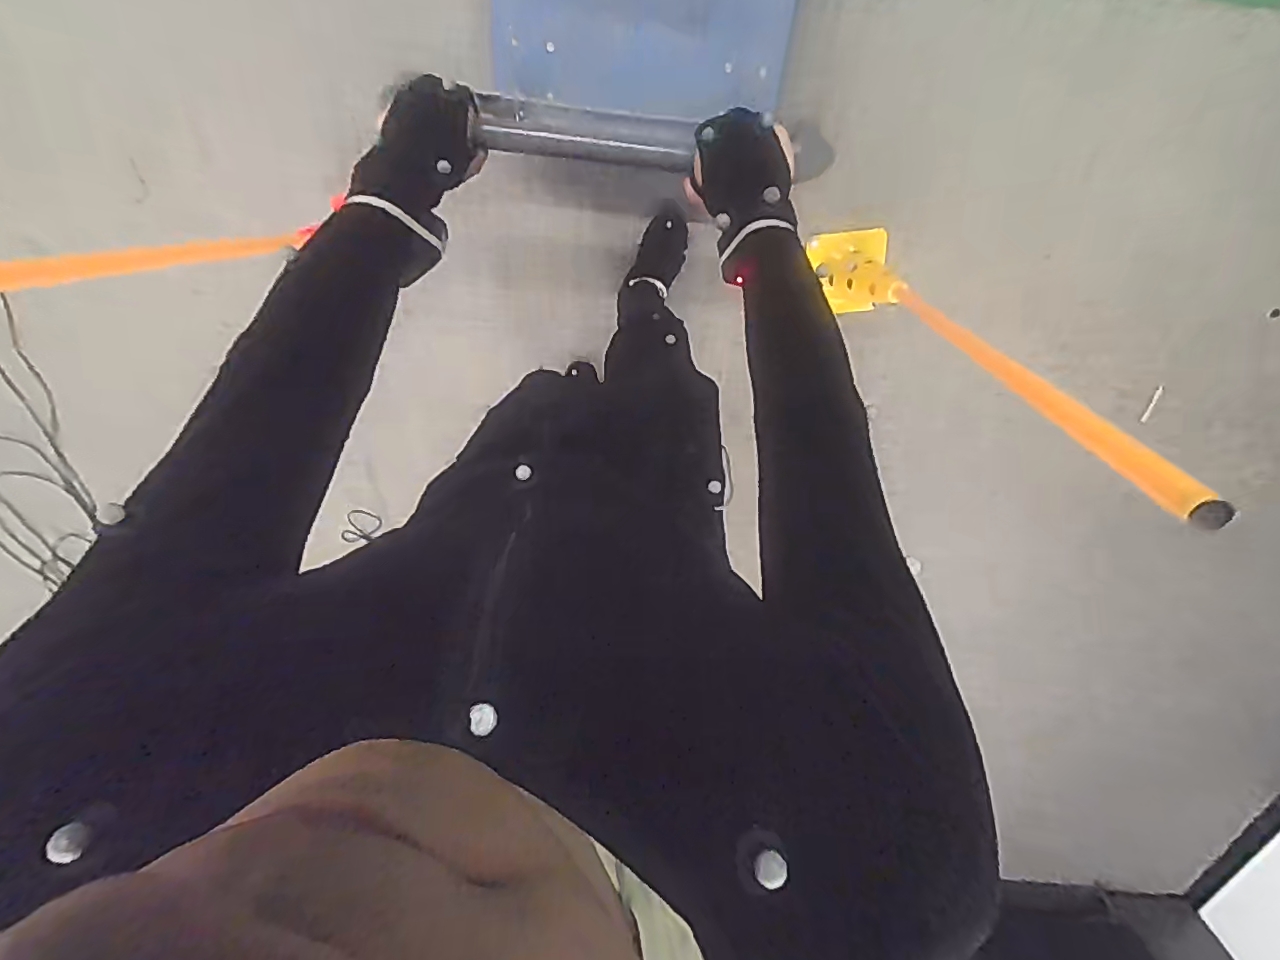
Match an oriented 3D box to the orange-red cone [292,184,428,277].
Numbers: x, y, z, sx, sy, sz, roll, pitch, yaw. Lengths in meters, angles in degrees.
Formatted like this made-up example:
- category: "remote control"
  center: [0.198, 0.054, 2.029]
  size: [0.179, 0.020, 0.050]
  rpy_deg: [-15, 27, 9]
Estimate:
- category: "orange-red cone"
  center: [-0.658, -0.550, 1.214]
  size: [0.199, 0.360, 0.198]
  rpy_deg: [-7, 116, 7]
